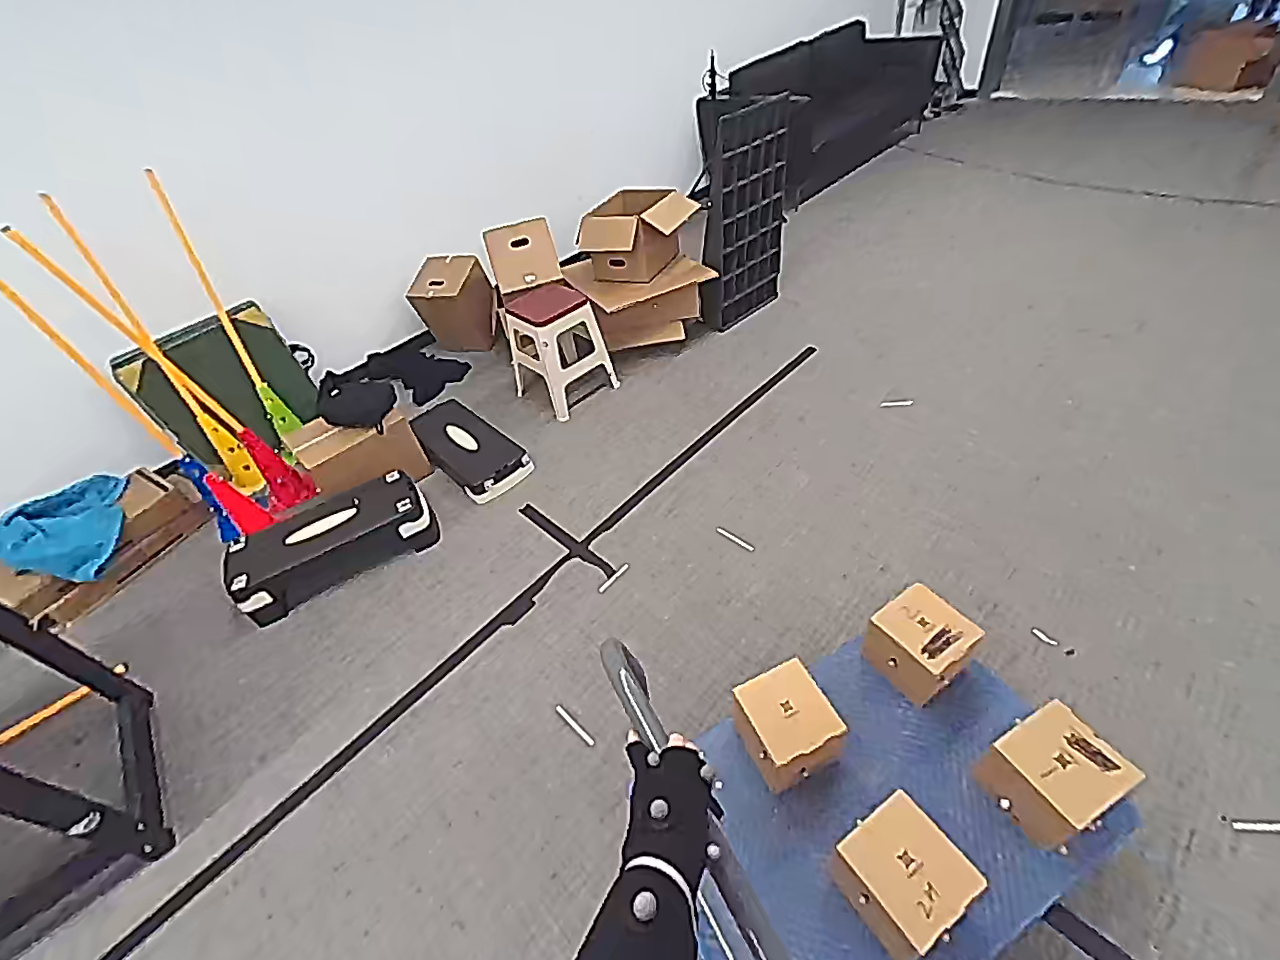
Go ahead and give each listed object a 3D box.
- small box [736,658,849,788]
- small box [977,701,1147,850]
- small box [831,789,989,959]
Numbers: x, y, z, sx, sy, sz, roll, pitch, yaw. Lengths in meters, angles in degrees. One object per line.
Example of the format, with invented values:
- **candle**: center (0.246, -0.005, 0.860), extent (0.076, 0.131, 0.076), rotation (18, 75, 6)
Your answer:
- **small box**: center (0.318, 0.526, 1.171), extent (0.168, 0.176, 0.179), rotation (-21, 46, -12)
- **small box**: center (0.791, 0.567, 1.038), extent (0.179, 0.176, 0.168), rotation (-25, 45, -13)
- **small box**: center (0.464, 0.701, 0.961), extent (0.168, 0.176, 0.179), rotation (-28, 46, -17)
